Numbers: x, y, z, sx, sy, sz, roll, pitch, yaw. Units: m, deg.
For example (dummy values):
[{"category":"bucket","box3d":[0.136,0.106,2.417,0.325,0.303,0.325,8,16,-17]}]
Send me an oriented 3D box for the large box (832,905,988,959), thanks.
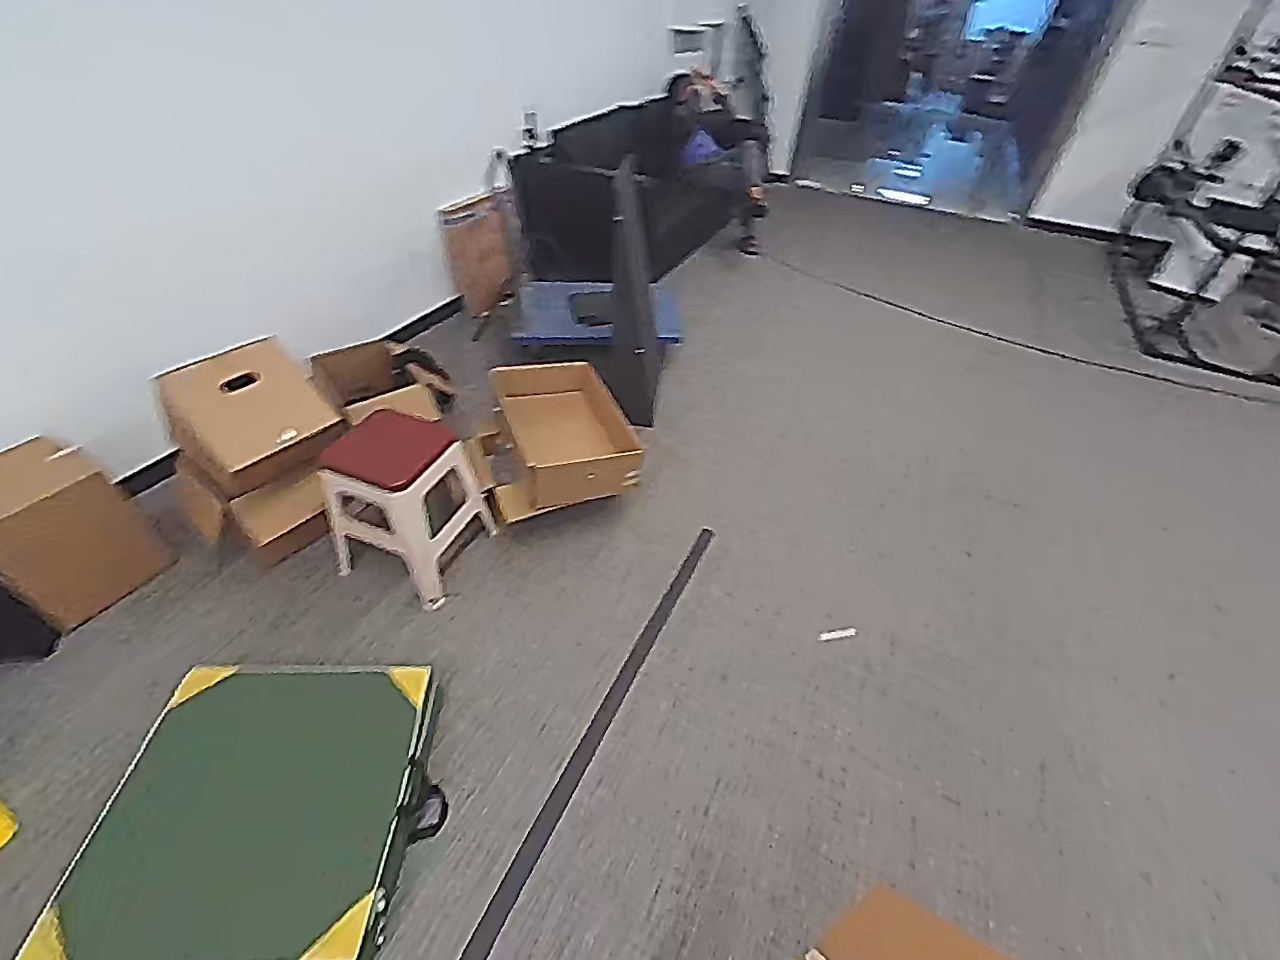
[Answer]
[{"category":"large box","box3d":[0.391,0.803,0.611,0.320,0.408,0.320,-28,77,-19]}]
